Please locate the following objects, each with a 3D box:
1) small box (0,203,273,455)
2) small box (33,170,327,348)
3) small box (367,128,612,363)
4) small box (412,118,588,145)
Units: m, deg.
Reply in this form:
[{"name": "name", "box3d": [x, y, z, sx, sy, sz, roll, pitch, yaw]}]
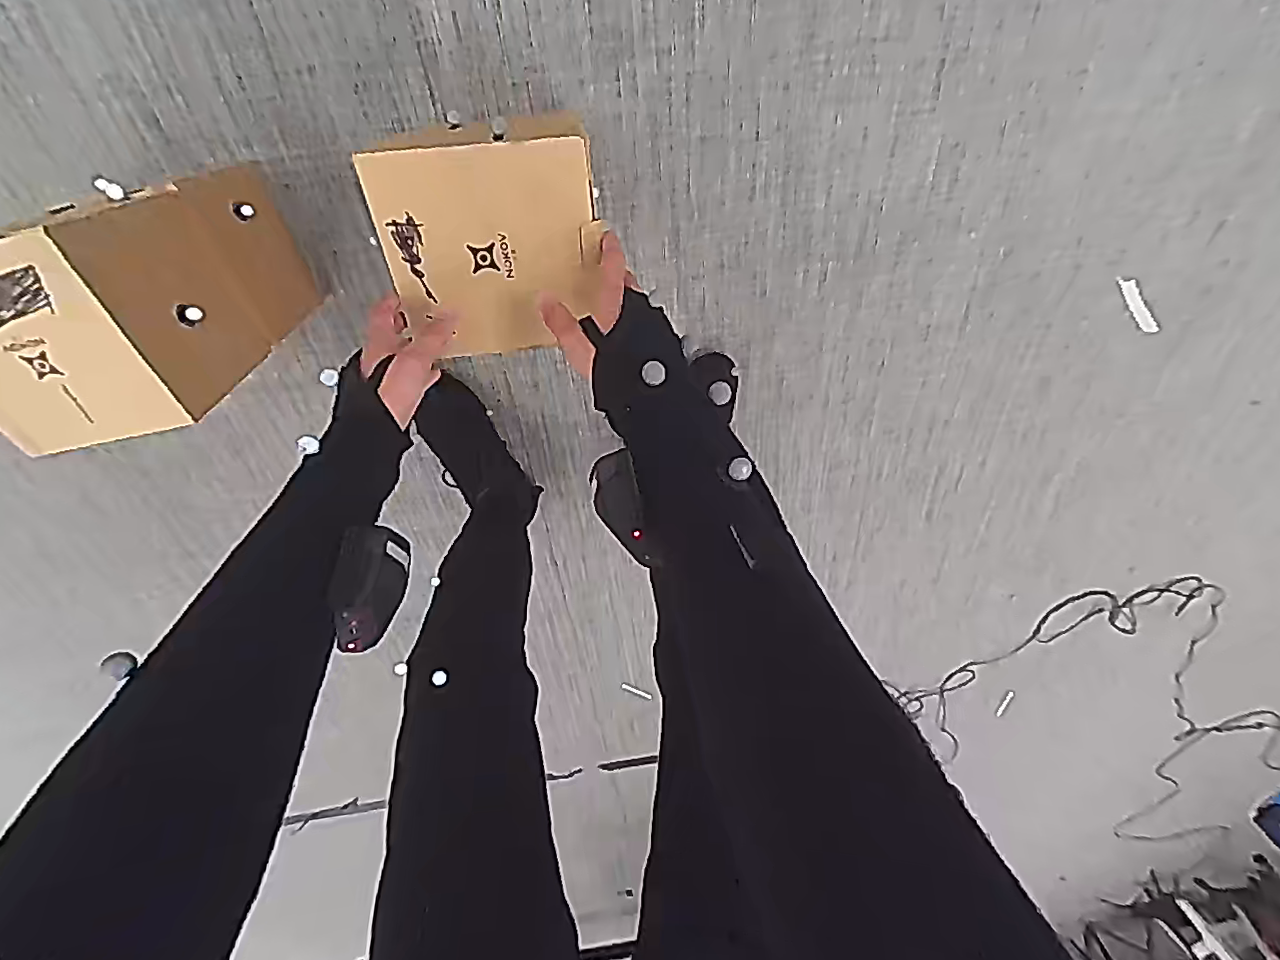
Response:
[{"name": "small box", "box3d": [-0.508, -0.153, 0.521, 0.168, 0.176, 0.179, -11, 128, 1]}, {"name": "small box", "box3d": [-0.519, -0.256, 0.648, 0.168, 0.176, 0.179, -12, 128, 2]}, {"name": "small box", "box3d": [-0.126, -0.229, 0.517, 0.179, 0.176, 0.168, -7, 127, -4]}, {"name": "small box", "box3d": [-0.145, -0.327, 0.648, 0.179, 0.176, 0.168, -7, 128, -4]}]
